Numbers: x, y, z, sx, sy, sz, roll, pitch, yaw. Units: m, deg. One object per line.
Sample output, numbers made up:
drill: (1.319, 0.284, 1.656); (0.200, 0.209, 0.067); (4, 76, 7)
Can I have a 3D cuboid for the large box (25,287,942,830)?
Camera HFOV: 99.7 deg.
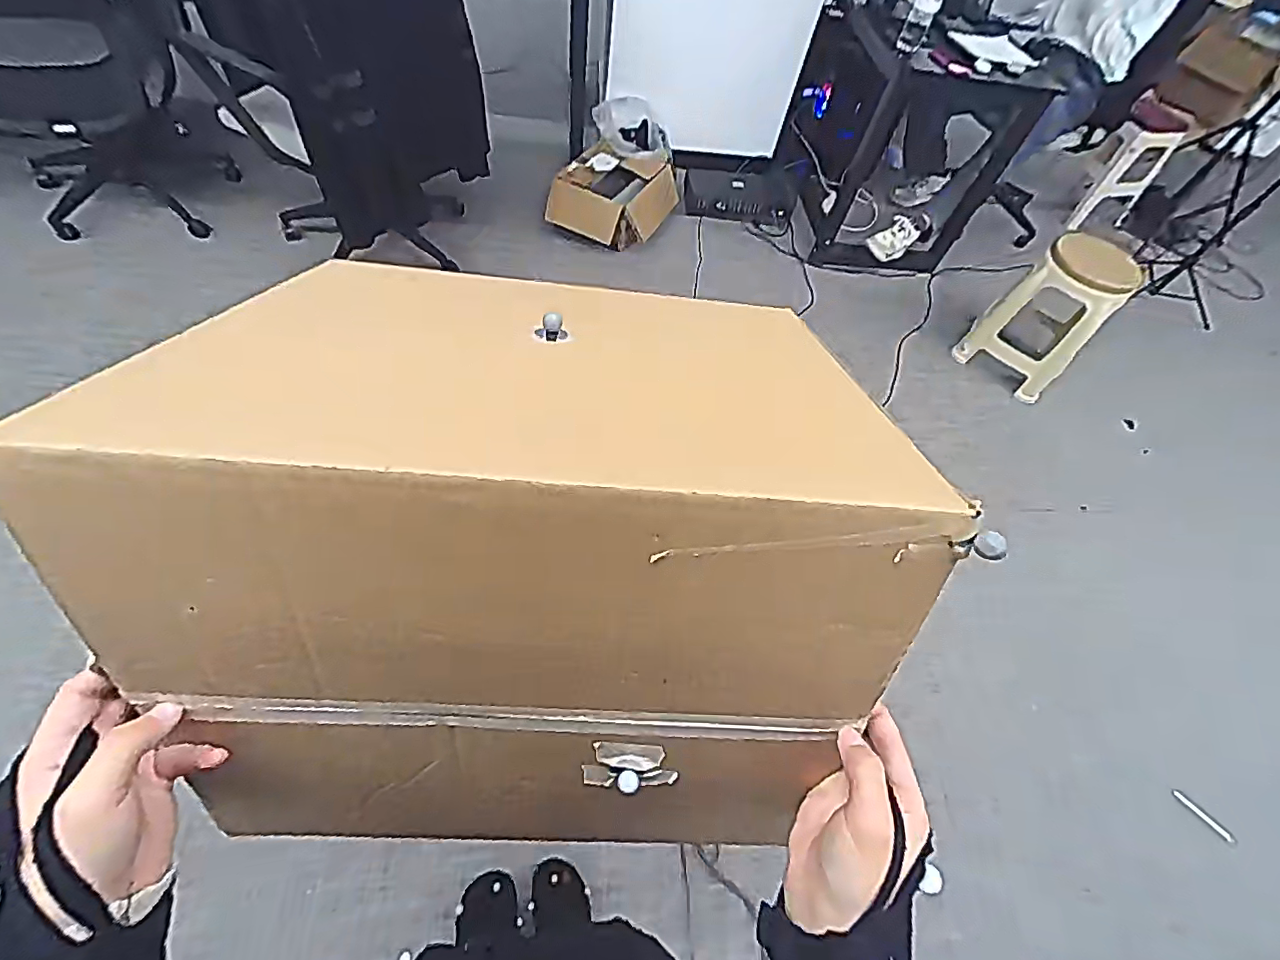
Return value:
large box: (-0.076, 0.047, 0.438); (0.408, 0.320, 0.320); (4, 34, -5)
